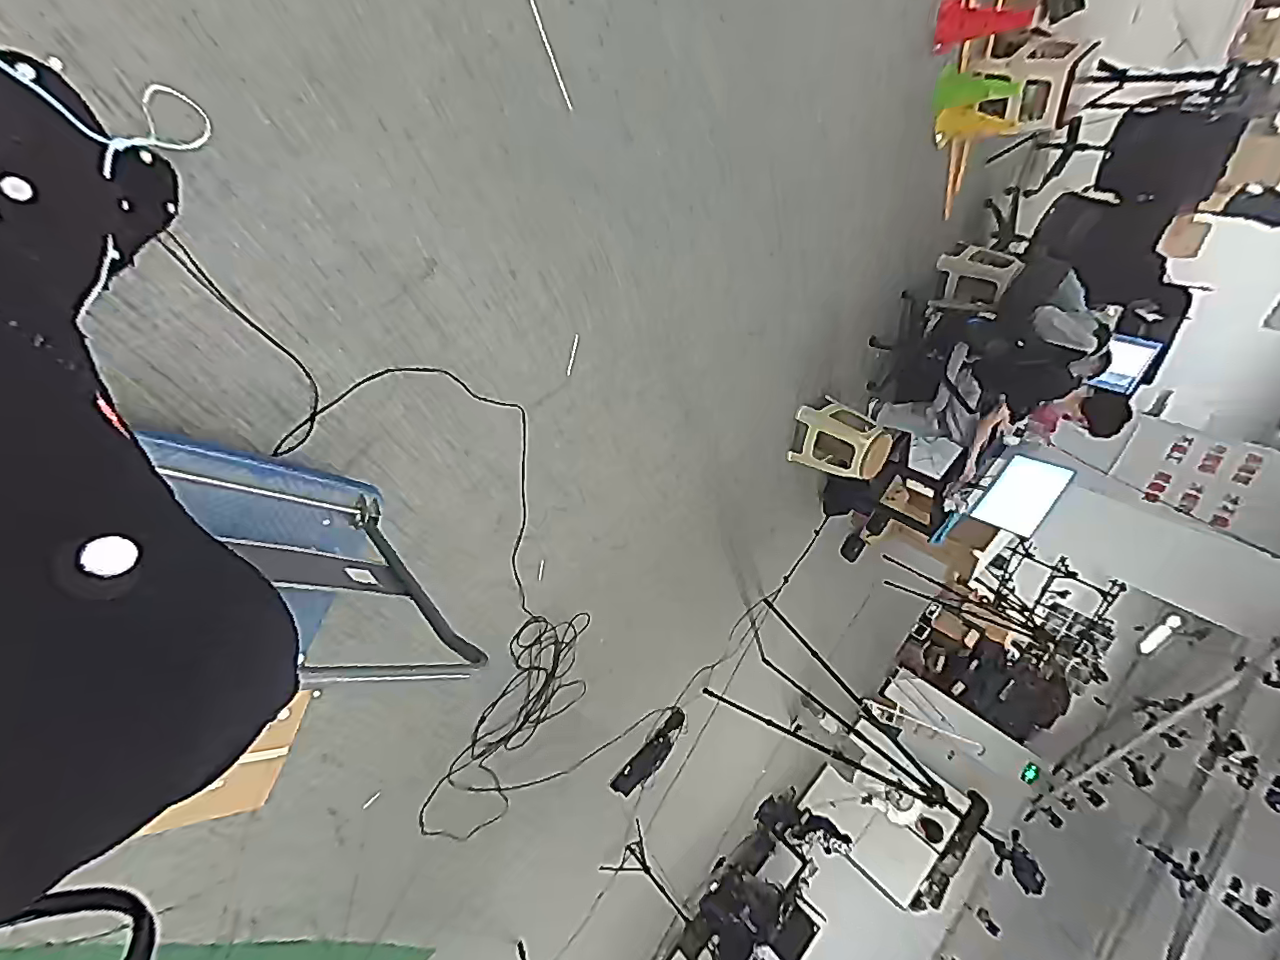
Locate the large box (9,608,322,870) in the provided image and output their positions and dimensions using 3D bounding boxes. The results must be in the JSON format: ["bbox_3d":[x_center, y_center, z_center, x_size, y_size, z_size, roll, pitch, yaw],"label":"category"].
[{"bbox_3d":[-0.967,0.479,1.115,0.408,0.320,0.320,16,102,-52],"label":"large box"}]
